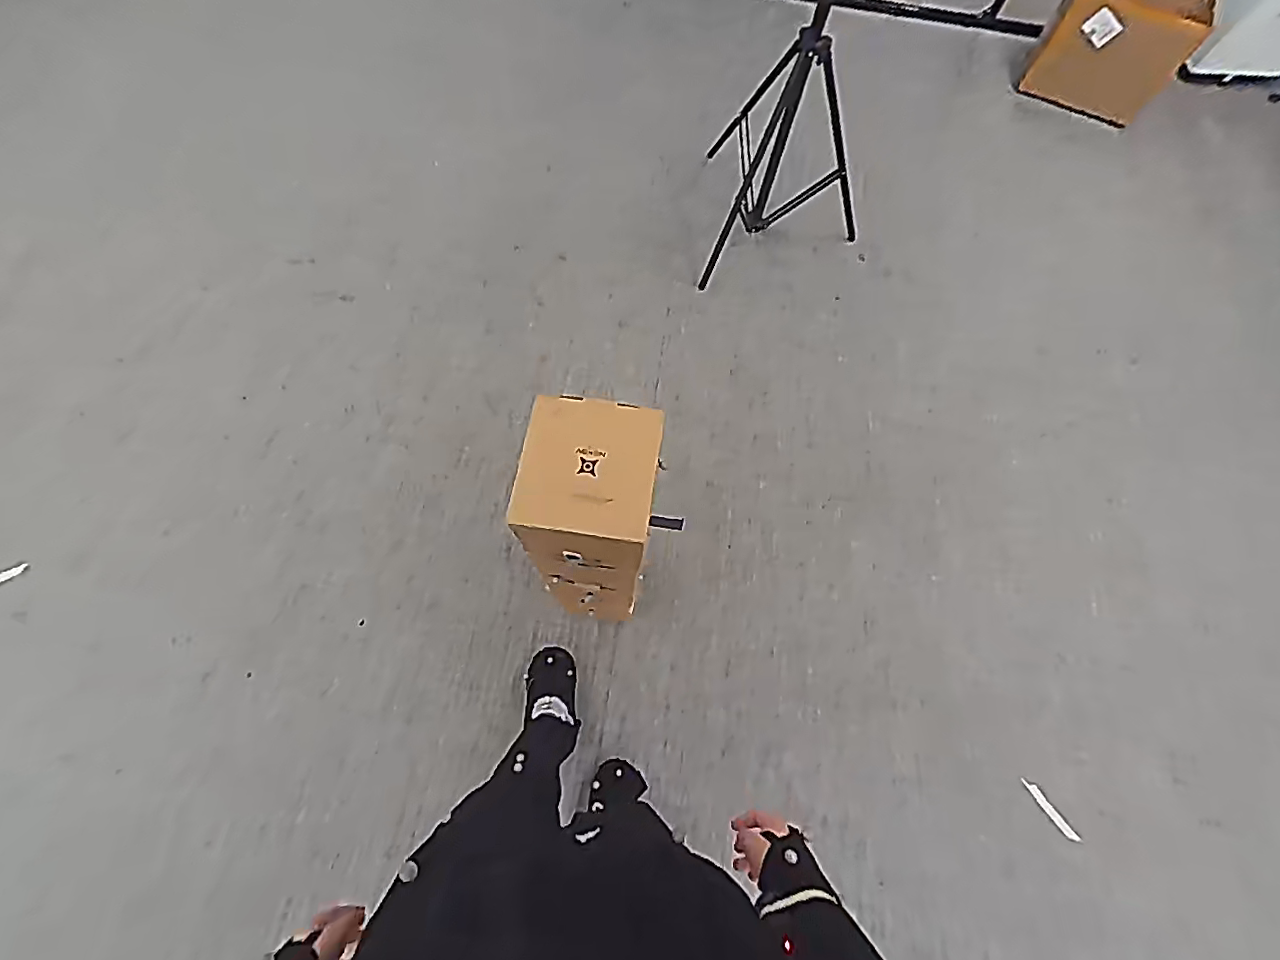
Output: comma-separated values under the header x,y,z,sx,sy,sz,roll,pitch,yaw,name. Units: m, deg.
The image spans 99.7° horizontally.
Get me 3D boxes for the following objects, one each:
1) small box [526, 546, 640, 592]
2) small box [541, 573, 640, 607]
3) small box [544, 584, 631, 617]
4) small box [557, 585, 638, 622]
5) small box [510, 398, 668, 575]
x,y,z,sx,sy,sz,roll,pitch,yaw,name
-0.071,0.074,0.871,0.168,0.176,0.179,10,68,1,small box
-0.077,0.135,1.023,0.168,0.176,0.179,11,70,1,small box
-0.094,0.194,1.175,0.179,0.176,0.168,11,70,2,small box
-0.095,0.251,1.329,0.179,0.176,0.168,9,69,0,small box
-0.061,0.016,0.720,0.168,0.176,0.179,8,70,1,small box
